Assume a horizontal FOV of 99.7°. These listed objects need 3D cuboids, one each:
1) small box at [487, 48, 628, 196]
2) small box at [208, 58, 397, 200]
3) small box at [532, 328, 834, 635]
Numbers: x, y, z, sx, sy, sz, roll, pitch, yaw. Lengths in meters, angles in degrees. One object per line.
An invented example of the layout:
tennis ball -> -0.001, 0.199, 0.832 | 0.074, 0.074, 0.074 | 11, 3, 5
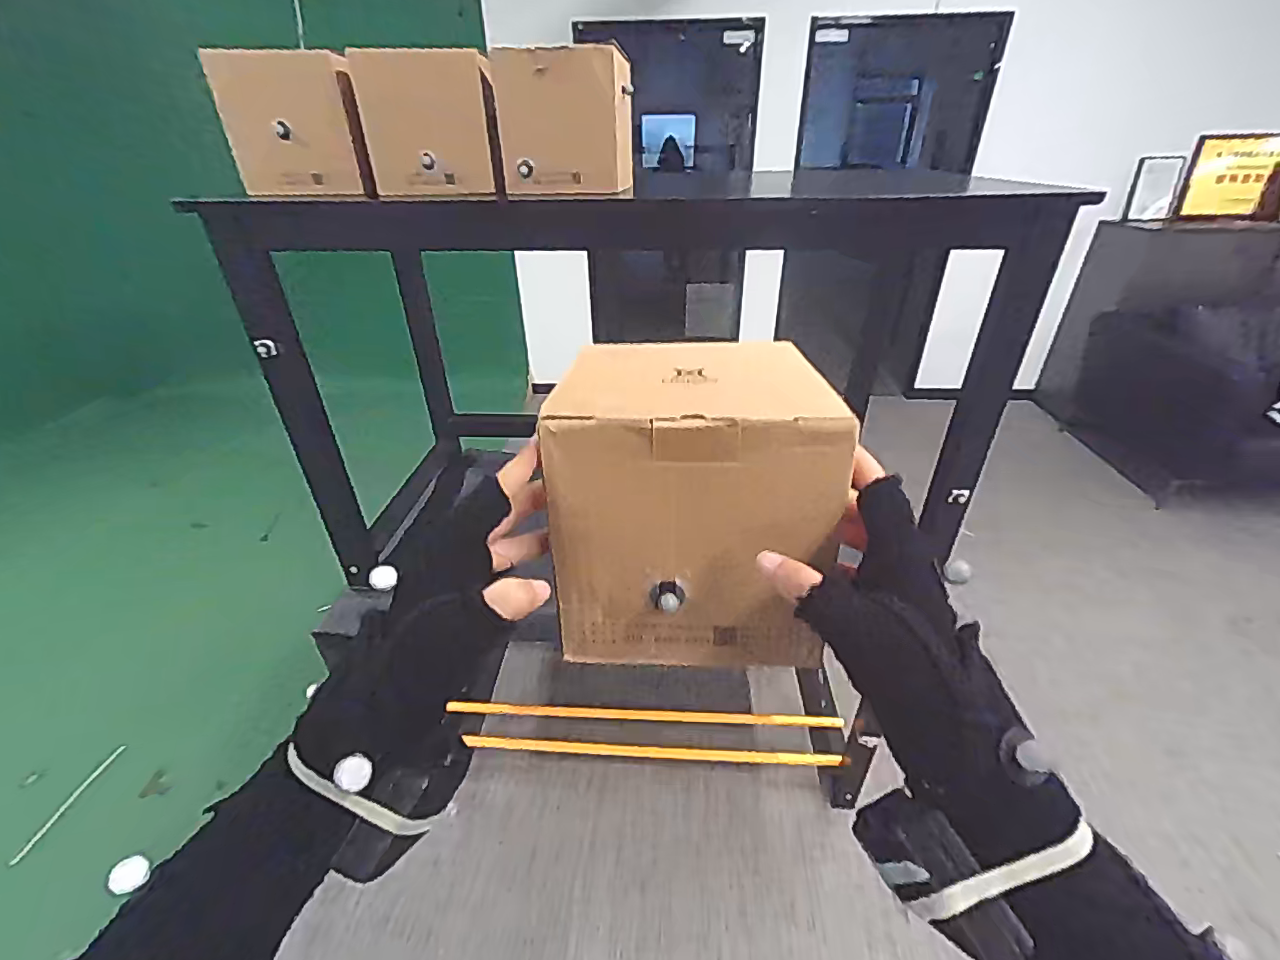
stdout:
small box -> -0.110, -0.524, 0.810 | 0.168, 0.176, 0.179 | 2, 31, 5
small box -> -0.492, -0.526, 0.824 | 0.168, 0.176, 0.179 | -1, 31, -3
small box -> 0.027, -0.012, 0.397 | 0.168, 0.176, 0.179 | 0, 26, 3
